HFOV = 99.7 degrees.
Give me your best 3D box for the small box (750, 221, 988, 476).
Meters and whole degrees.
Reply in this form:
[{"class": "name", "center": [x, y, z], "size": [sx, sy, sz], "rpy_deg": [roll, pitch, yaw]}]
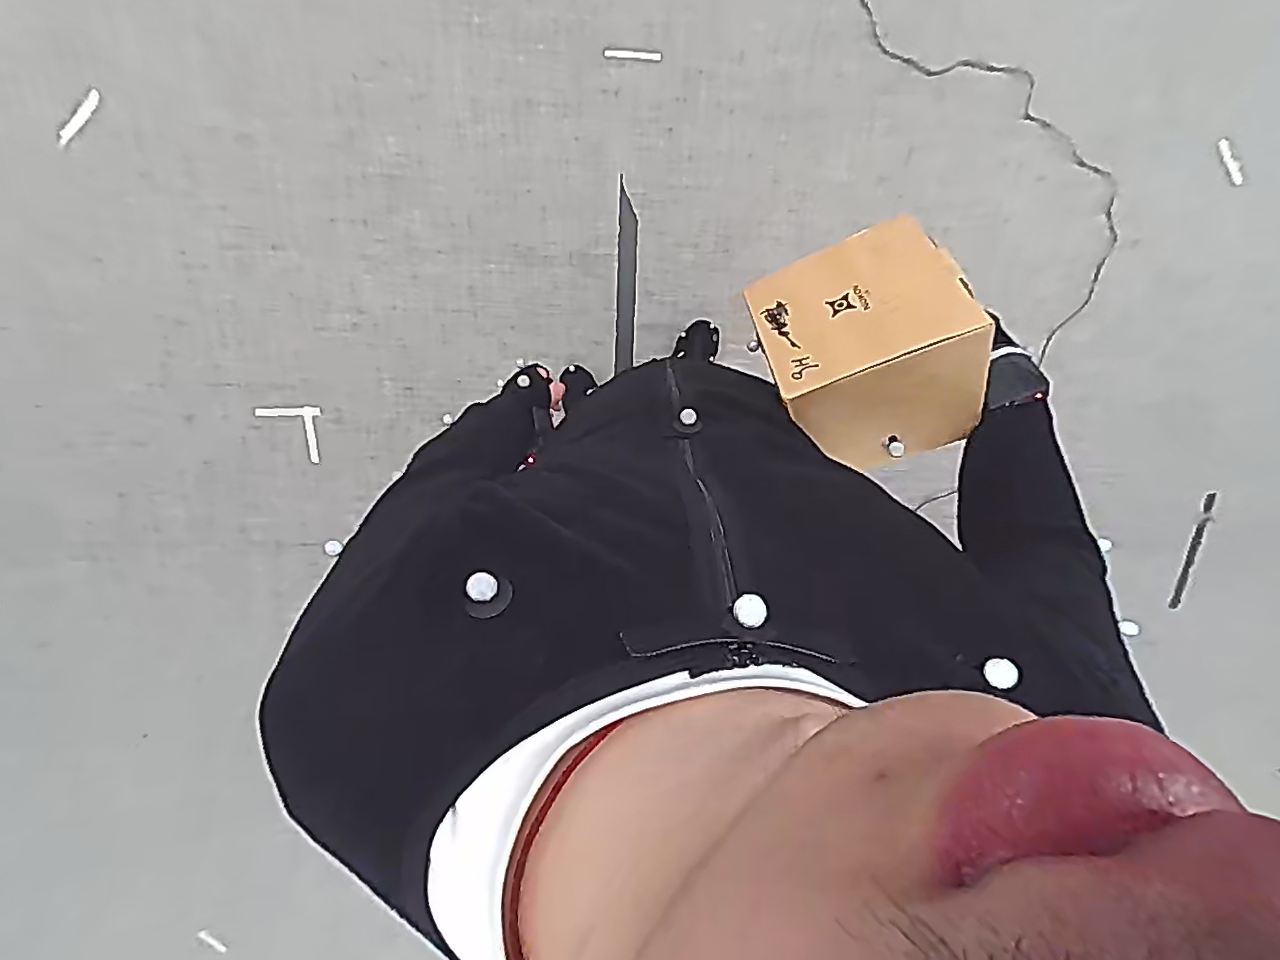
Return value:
[{"class": "small box", "center": [0.237, -0.130, 0.584], "size": [0.179, 0.168, 0.176], "rpy_deg": [-19, 144, 15]}]
